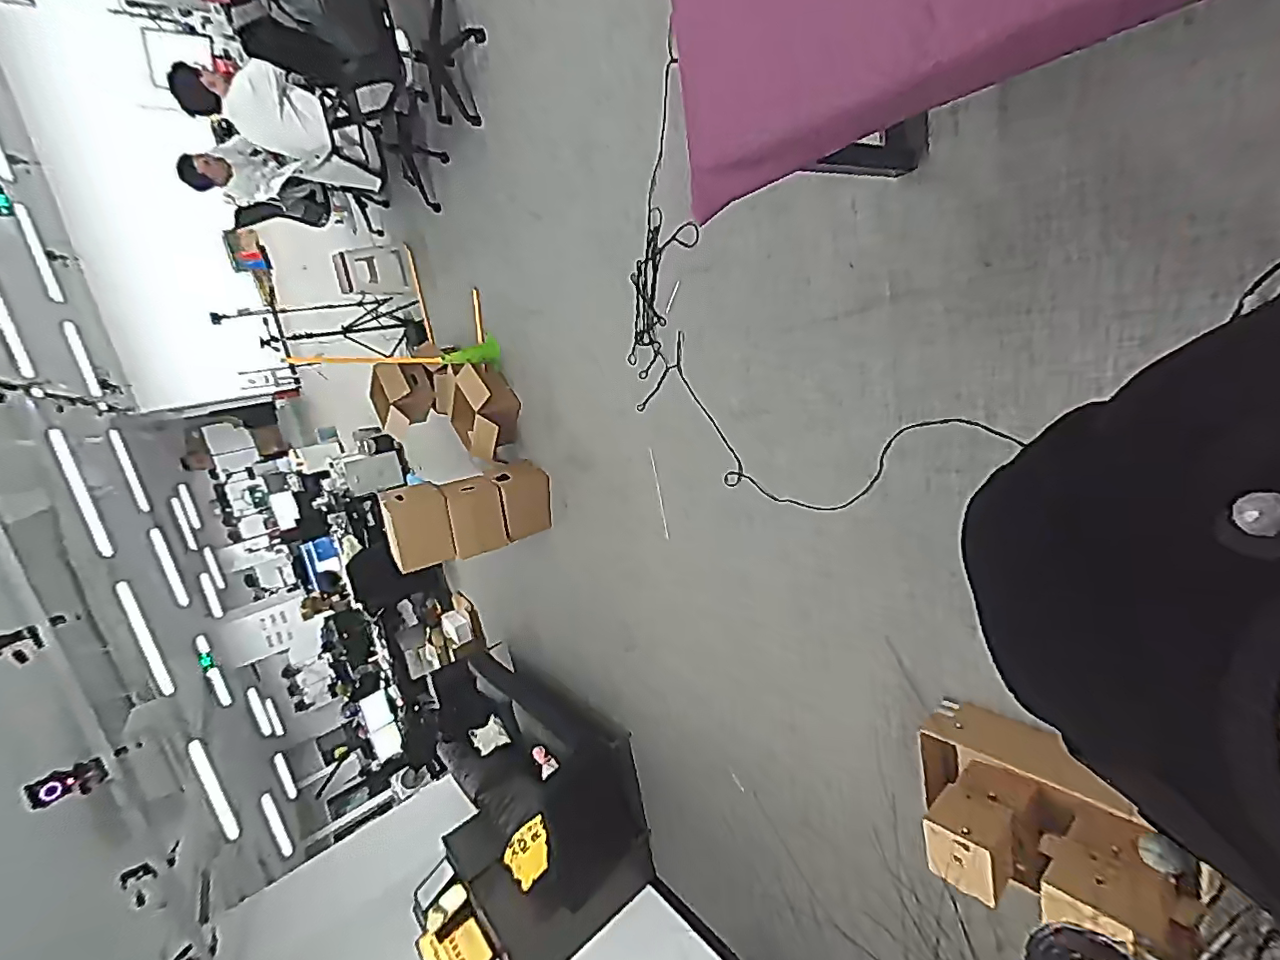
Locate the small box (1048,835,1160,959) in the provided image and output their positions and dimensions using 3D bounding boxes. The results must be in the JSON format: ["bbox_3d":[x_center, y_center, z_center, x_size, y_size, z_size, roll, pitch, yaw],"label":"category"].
[{"bbox_3d":[1.071,0.980,1.251,0.168,0.176,0.179,7,110,53],"label":"small box"}]

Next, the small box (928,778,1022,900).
[{"bbox_3d":[0.909,0.961,1.462,0.168,0.176,0.179,3,109,52],"label":"small box"}]

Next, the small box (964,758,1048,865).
[{"bbox_3d":[1.043,0.940,1.554,0.179,0.176,0.168,-2,103,55],"label":"small box"}]

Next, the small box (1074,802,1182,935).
[{"bbox_3d":[1.206,0.945,1.338,0.179,0.176,0.168,0,105,55],"label":"small box"}]
